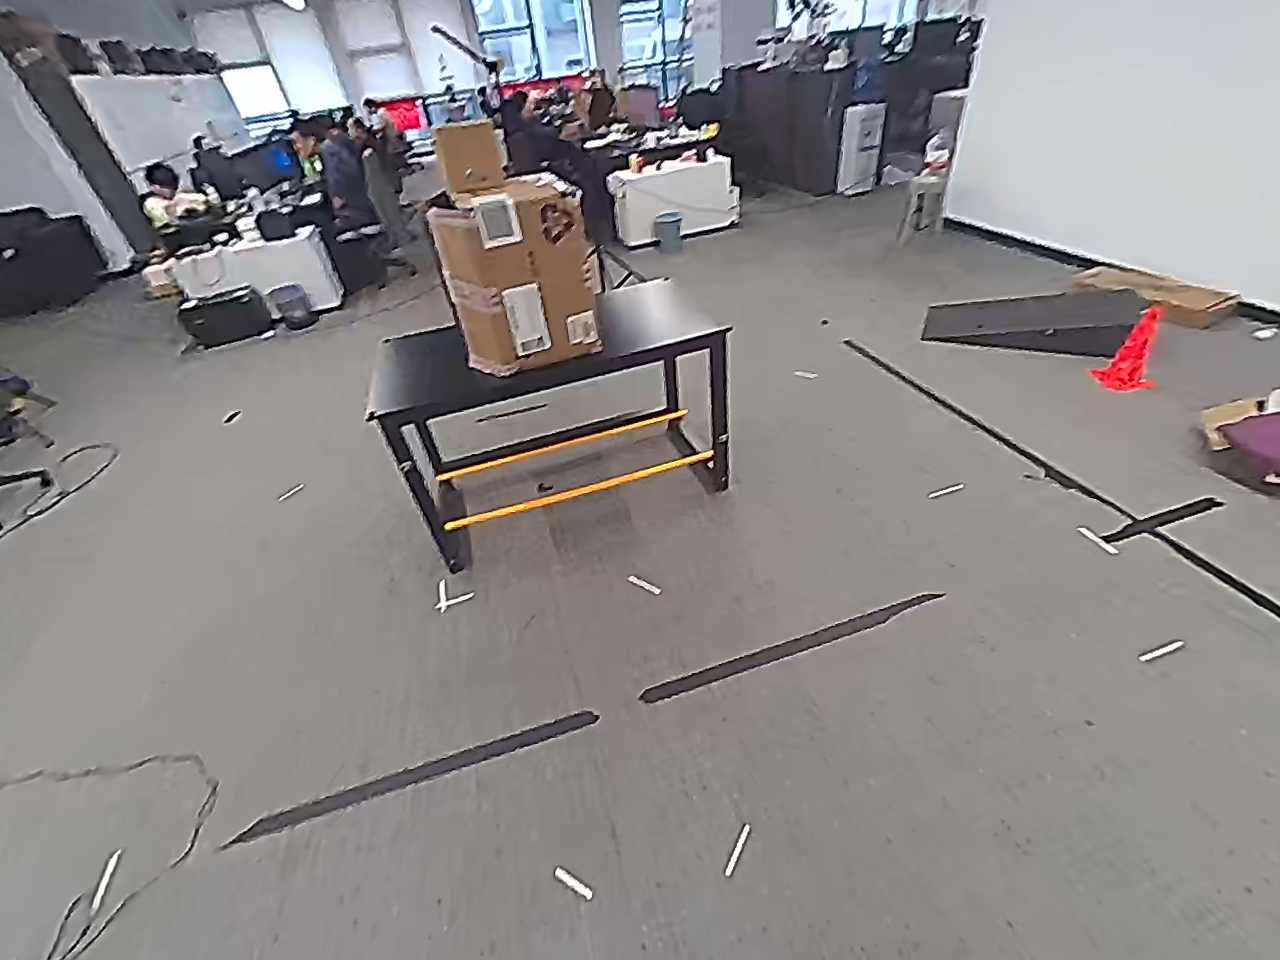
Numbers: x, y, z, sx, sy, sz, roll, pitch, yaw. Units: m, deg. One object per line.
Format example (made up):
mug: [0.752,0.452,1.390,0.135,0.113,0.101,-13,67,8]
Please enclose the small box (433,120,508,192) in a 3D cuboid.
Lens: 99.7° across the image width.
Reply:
small box: [-0.515,-0.984,1.643,0.168,0.176,0.179,-20,39,-16]
